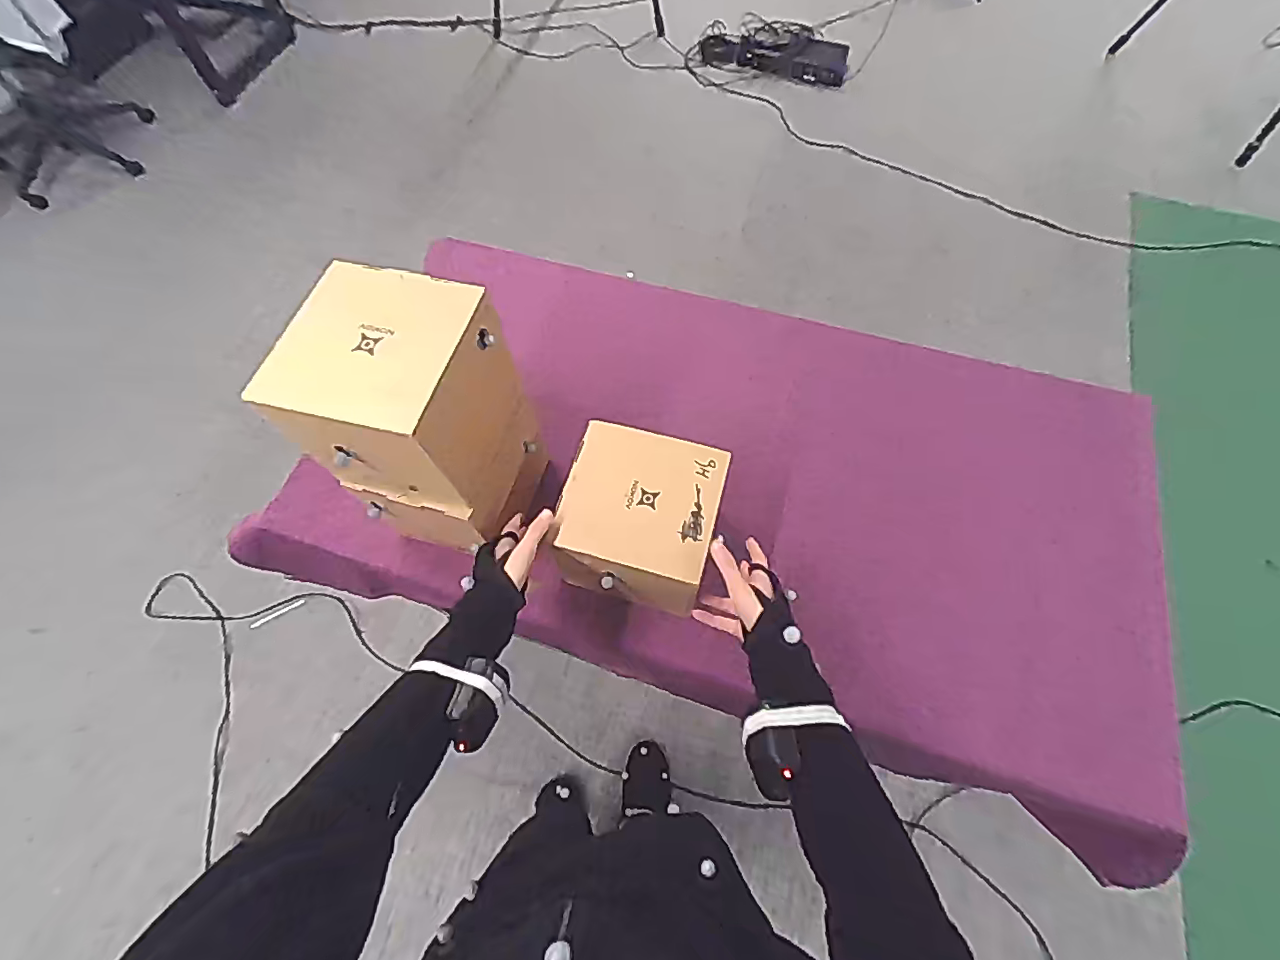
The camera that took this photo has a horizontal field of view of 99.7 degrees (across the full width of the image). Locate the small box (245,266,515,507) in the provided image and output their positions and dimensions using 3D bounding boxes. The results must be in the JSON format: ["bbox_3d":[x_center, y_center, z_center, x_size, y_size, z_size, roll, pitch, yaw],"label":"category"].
[{"bbox_3d":[-0.248,-0.090,0.572,0.168,0.176,0.179,12,64,7],"label":"small box"}]
